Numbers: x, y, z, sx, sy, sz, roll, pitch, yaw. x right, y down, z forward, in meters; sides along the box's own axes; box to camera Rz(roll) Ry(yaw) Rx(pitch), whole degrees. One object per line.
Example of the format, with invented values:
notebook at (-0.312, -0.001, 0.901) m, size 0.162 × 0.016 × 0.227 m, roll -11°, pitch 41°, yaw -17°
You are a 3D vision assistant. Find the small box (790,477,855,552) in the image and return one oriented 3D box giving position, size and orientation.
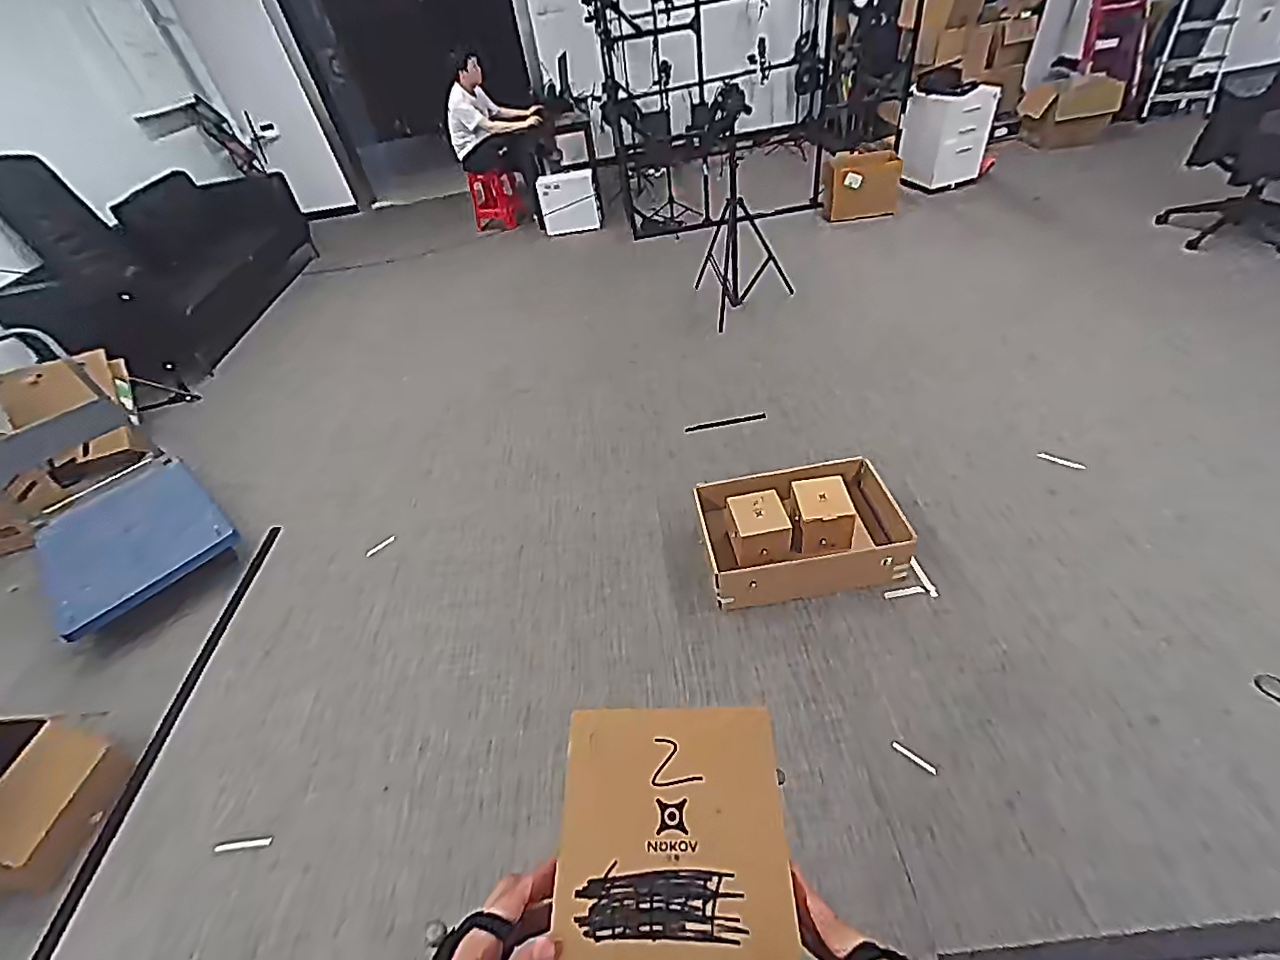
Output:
small box at (0.598, 0.115, 1.796) m, size 0.168 × 0.176 × 0.179 m, roll -7°, pitch 43°, yaw 5°

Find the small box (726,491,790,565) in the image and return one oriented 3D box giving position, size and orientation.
small box at (0.386, 0.165, 1.782) m, size 0.168 × 0.176 × 0.179 m, roll -10°, pitch 43°, yaw -2°
